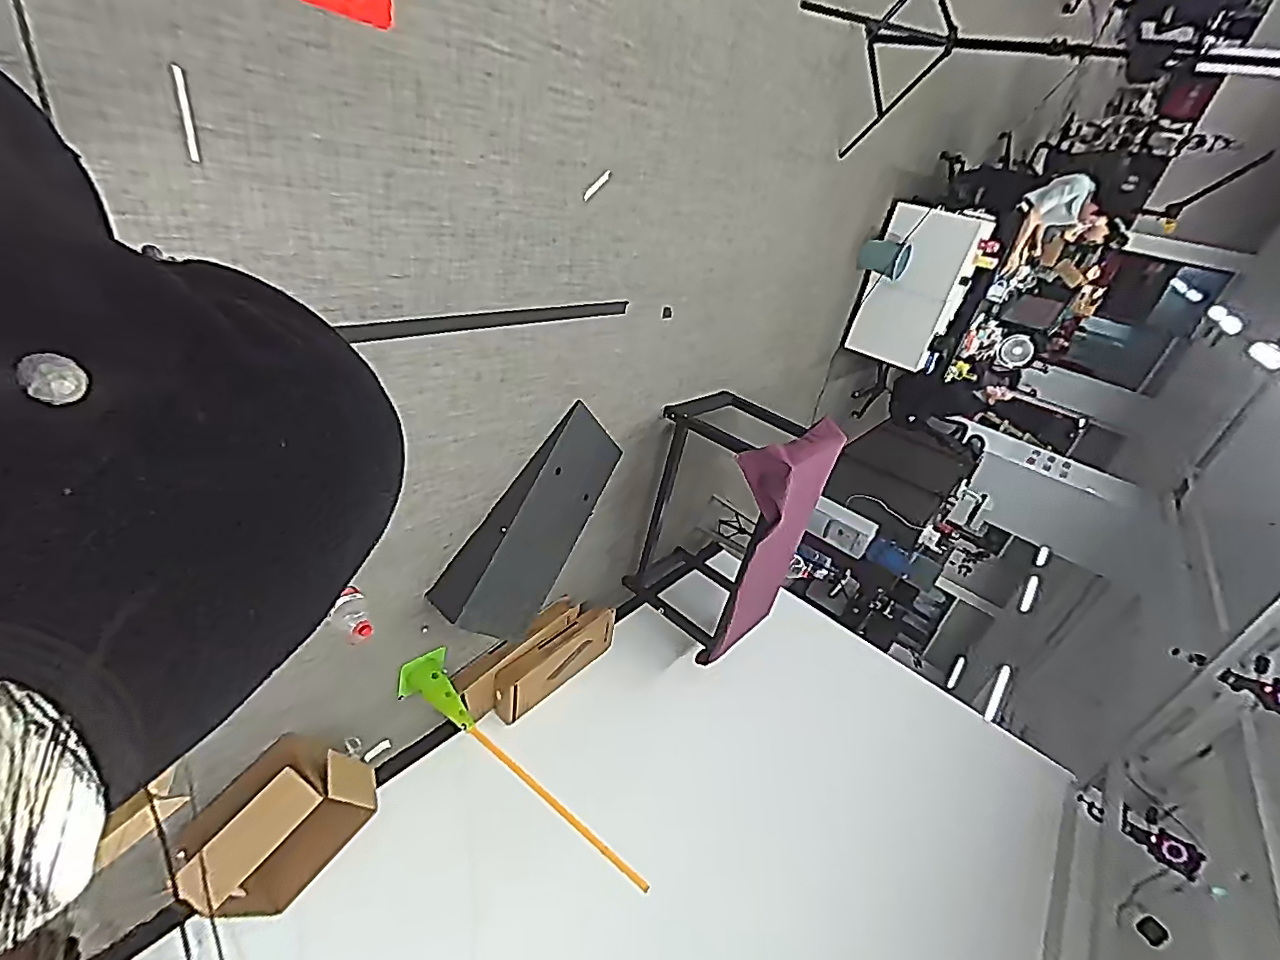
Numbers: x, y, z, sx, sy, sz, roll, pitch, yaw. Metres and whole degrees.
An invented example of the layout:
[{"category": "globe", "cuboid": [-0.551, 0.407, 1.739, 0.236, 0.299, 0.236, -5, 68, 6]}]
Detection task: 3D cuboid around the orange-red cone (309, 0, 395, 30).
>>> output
[{"category": "orange-red cone", "cuboid": [-0.448, -0.946, 0.964, 0.198, 0.360, 0.199, -20, 133, -47]}]
